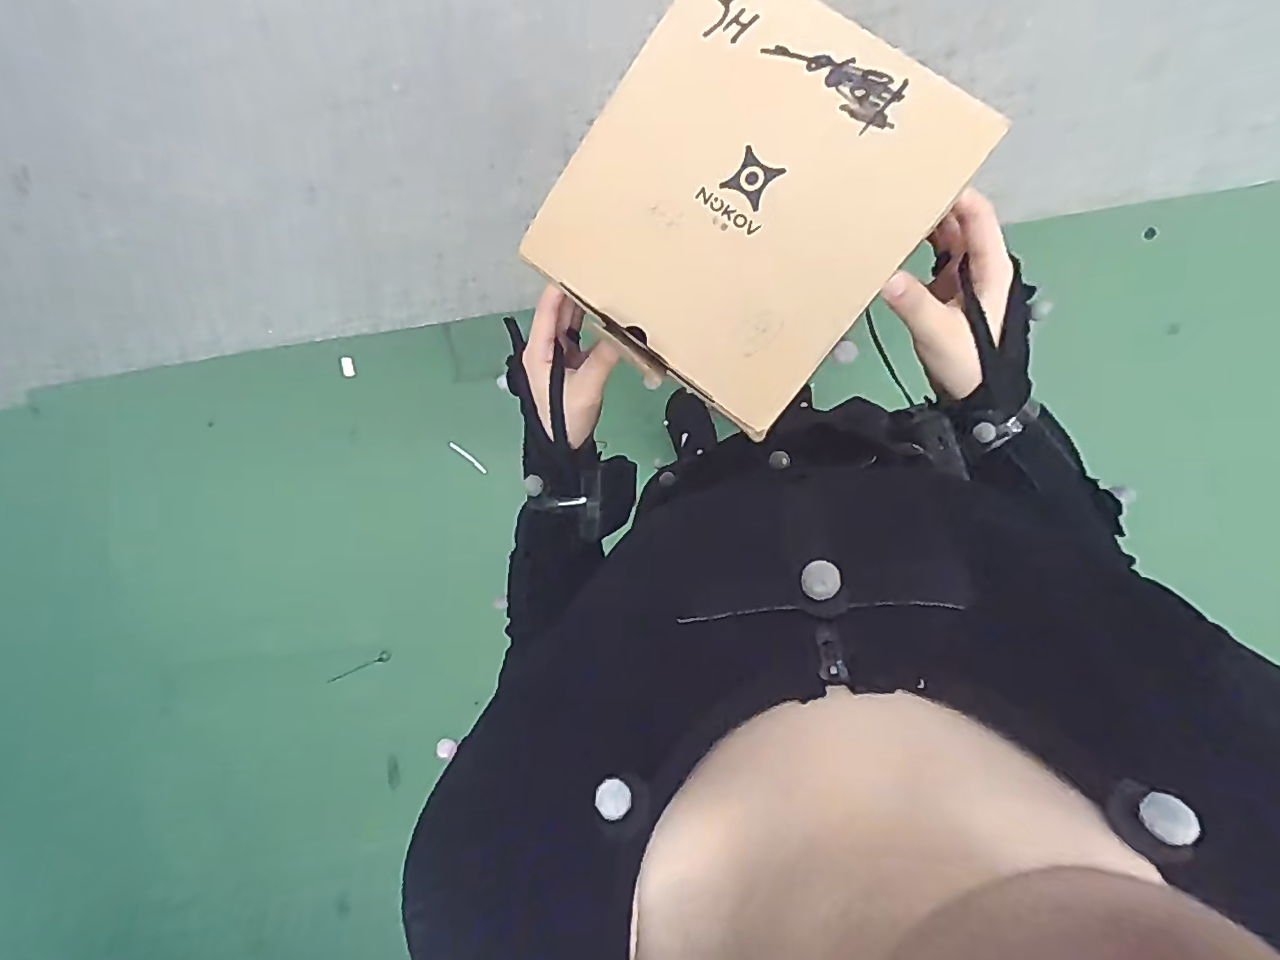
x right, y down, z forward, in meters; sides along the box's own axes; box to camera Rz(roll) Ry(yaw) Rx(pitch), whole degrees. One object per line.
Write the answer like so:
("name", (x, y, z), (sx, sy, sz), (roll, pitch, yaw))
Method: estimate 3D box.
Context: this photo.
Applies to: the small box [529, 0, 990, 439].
("small box", (0.068, -0.141, 0.350), (0.168, 0.176, 0.179), (39, 101, 8))
